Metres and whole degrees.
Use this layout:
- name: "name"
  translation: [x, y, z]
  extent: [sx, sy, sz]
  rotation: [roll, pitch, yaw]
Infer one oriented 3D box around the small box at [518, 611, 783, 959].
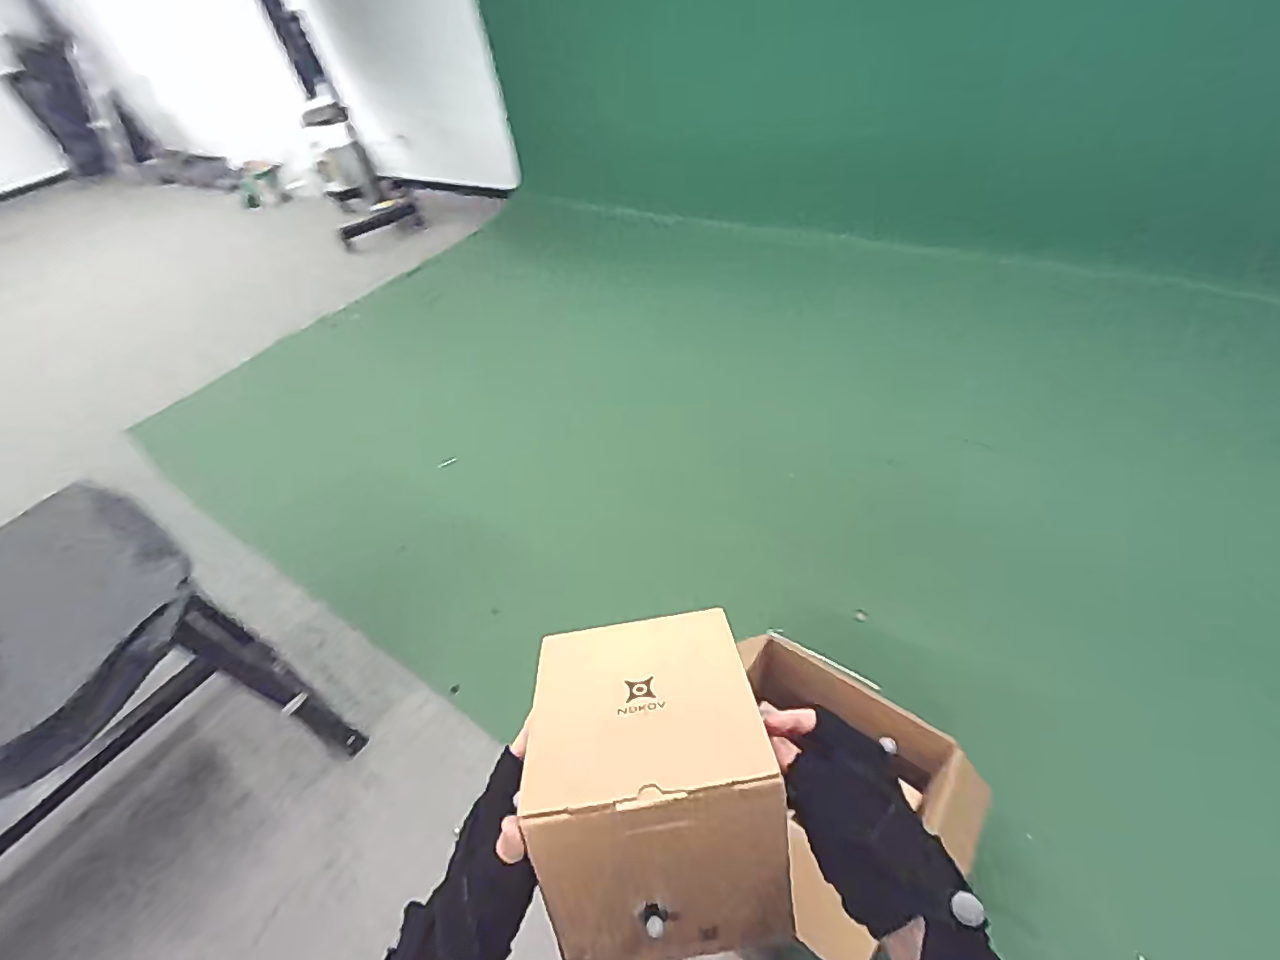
- name: "small box"
  translation: [0.007, 0.236, 0.436]
  extent: [0.168, 0.176, 0.179]
  rotation: [-9, 24, -3]
